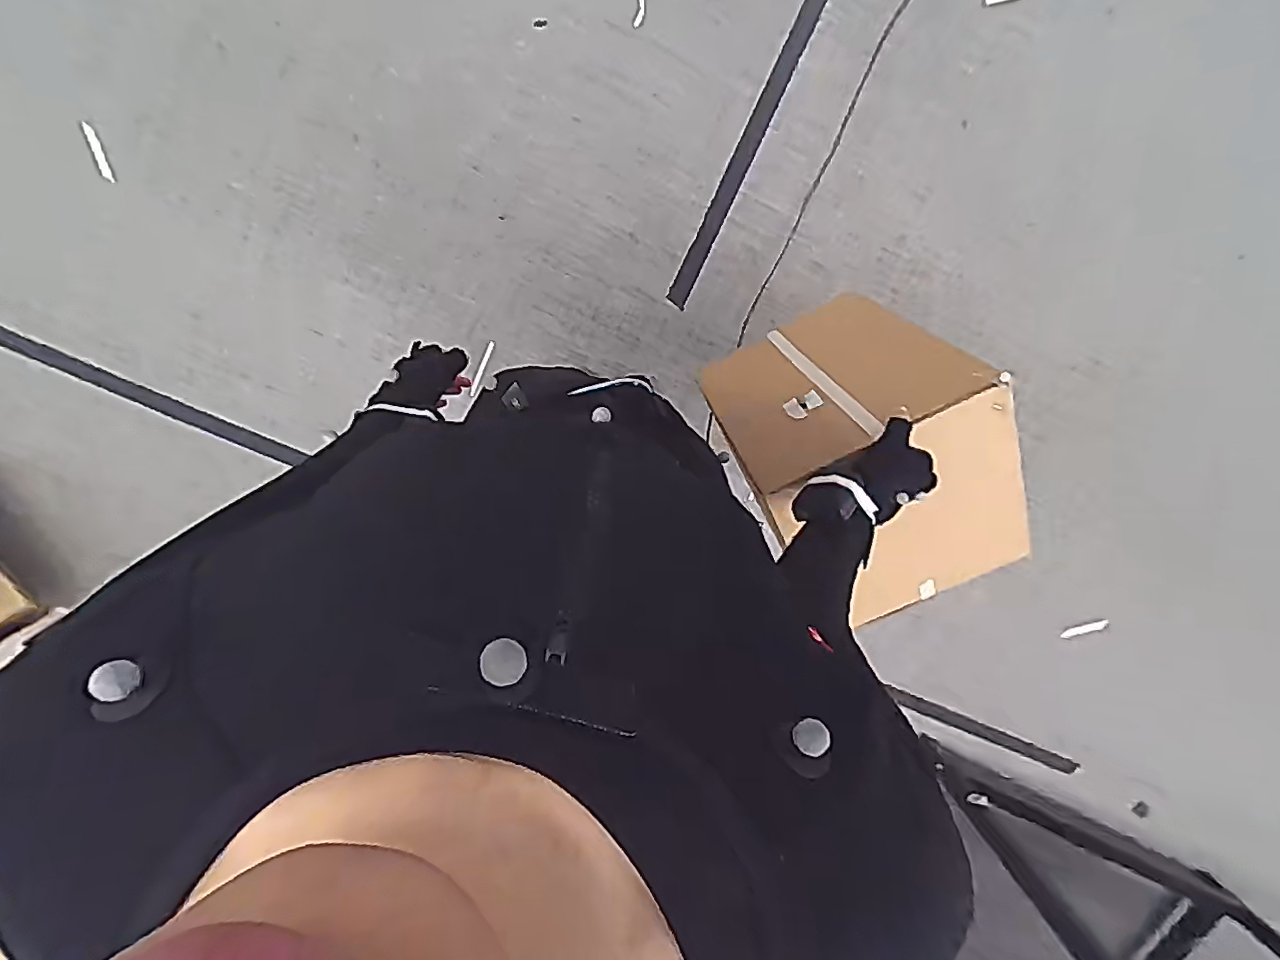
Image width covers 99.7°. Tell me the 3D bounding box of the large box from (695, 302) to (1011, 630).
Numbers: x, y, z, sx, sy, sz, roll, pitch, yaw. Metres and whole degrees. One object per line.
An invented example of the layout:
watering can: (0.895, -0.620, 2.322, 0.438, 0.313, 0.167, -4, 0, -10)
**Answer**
large box: (0.328, -0.038, 0.902, 0.320, 0.408, 0.320, -27, 124, 9)
